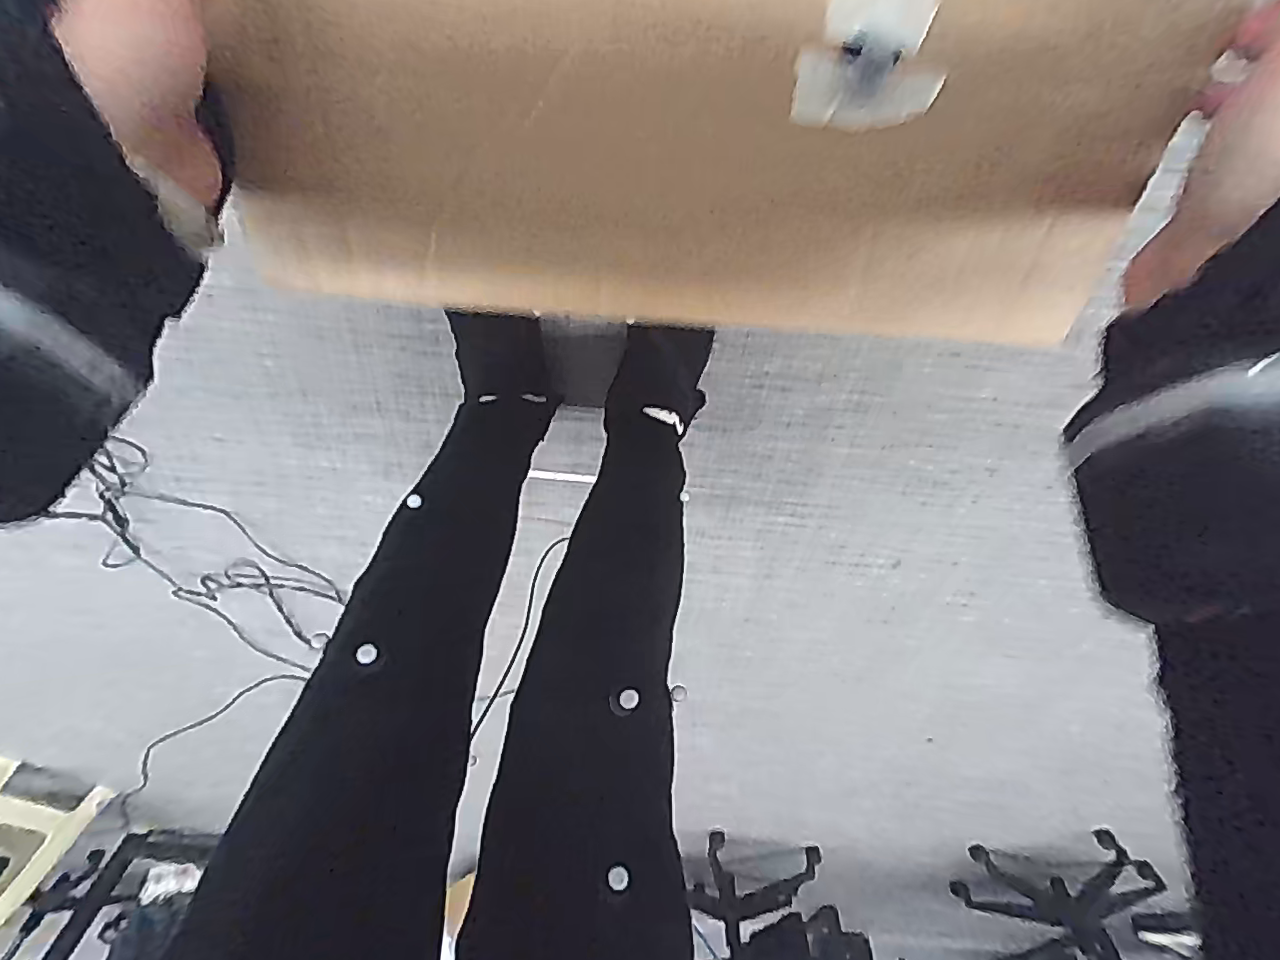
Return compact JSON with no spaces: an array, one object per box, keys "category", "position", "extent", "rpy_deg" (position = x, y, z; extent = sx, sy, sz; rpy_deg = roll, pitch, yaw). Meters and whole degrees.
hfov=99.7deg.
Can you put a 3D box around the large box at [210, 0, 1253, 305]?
[{"category":"large box","position":[0.035,-0.303,0.308],"extent":[0.408,0.320,0.320],"rpy_deg":[3,124,-3]}]
